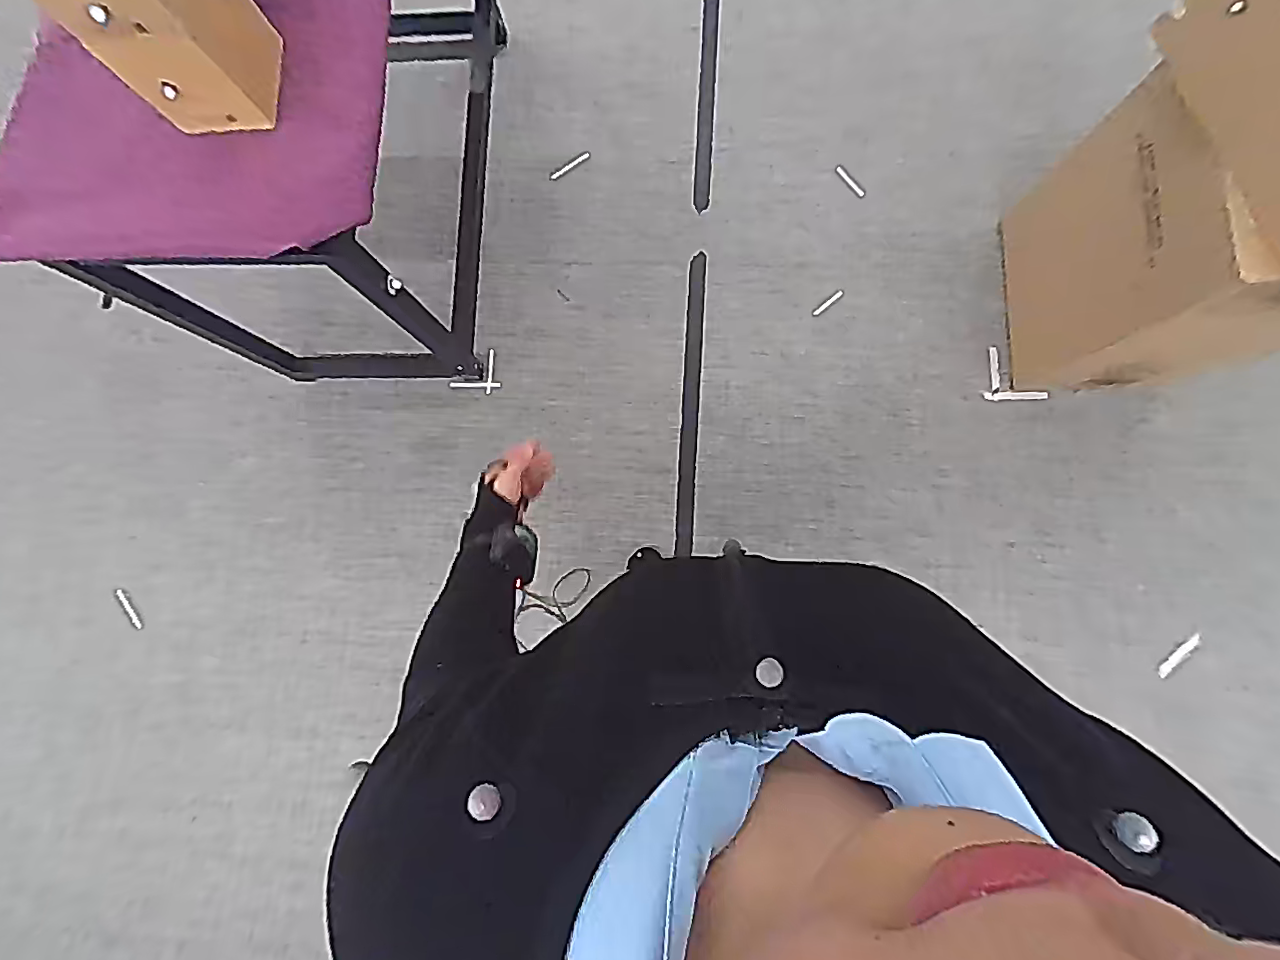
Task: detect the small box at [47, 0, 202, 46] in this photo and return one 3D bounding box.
[{"bbox_3d":[-0.710,-0.717,0.701,0.168,0.176,0.179,-1,82,3],"label":"small box"}]

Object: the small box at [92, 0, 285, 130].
[{"bbox_3d":[-0.705,-0.693,0.864,0.168,0.176,0.179,-1,82,3],"label":"small box"}]
